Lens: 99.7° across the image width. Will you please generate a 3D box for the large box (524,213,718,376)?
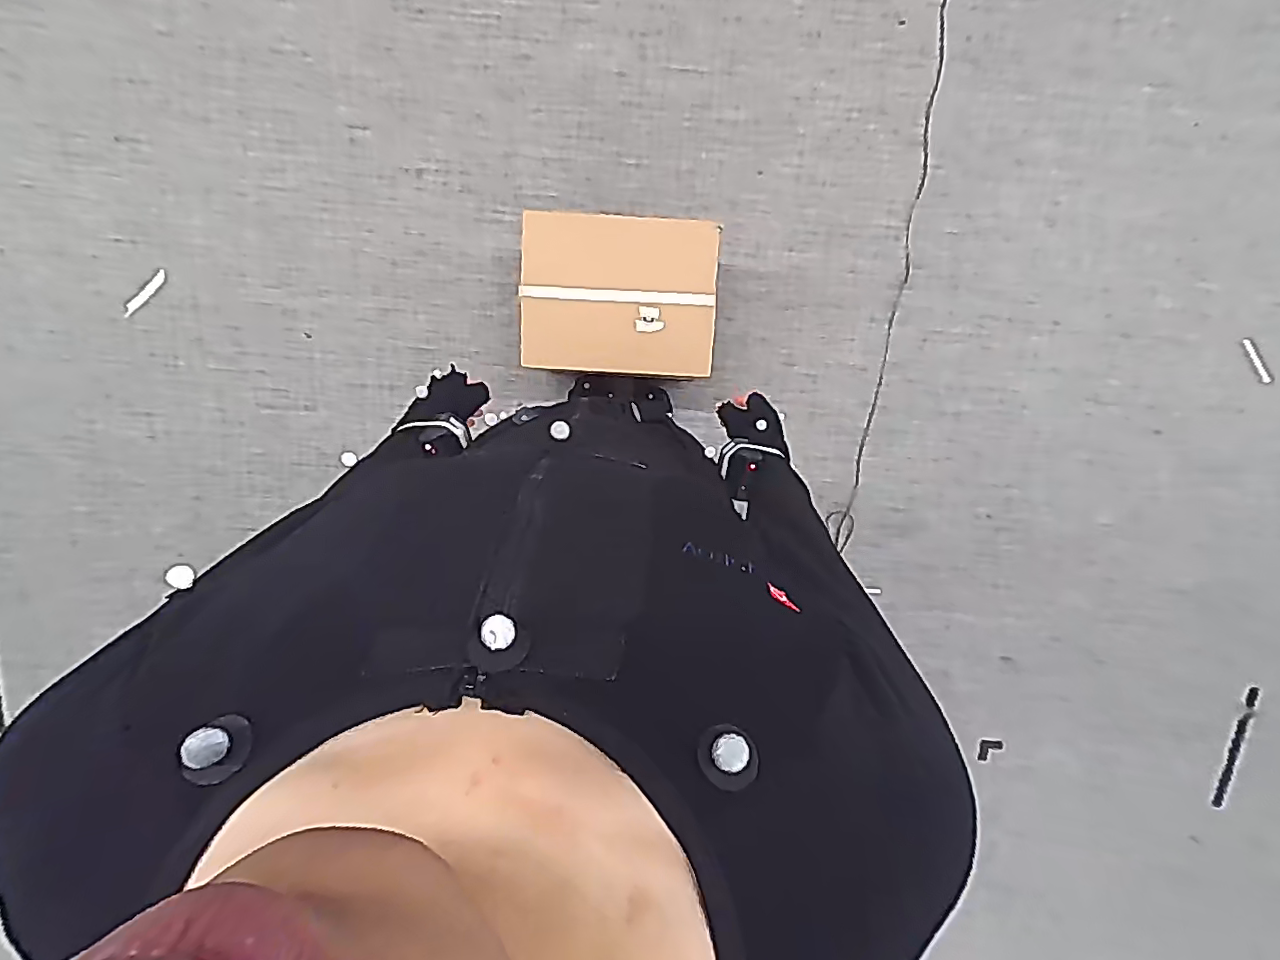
[{"bbox_3d":[-0.046,-0.412,1.276,0.408,0.320,0.320,2,100,-1],"label":"large box"}]
